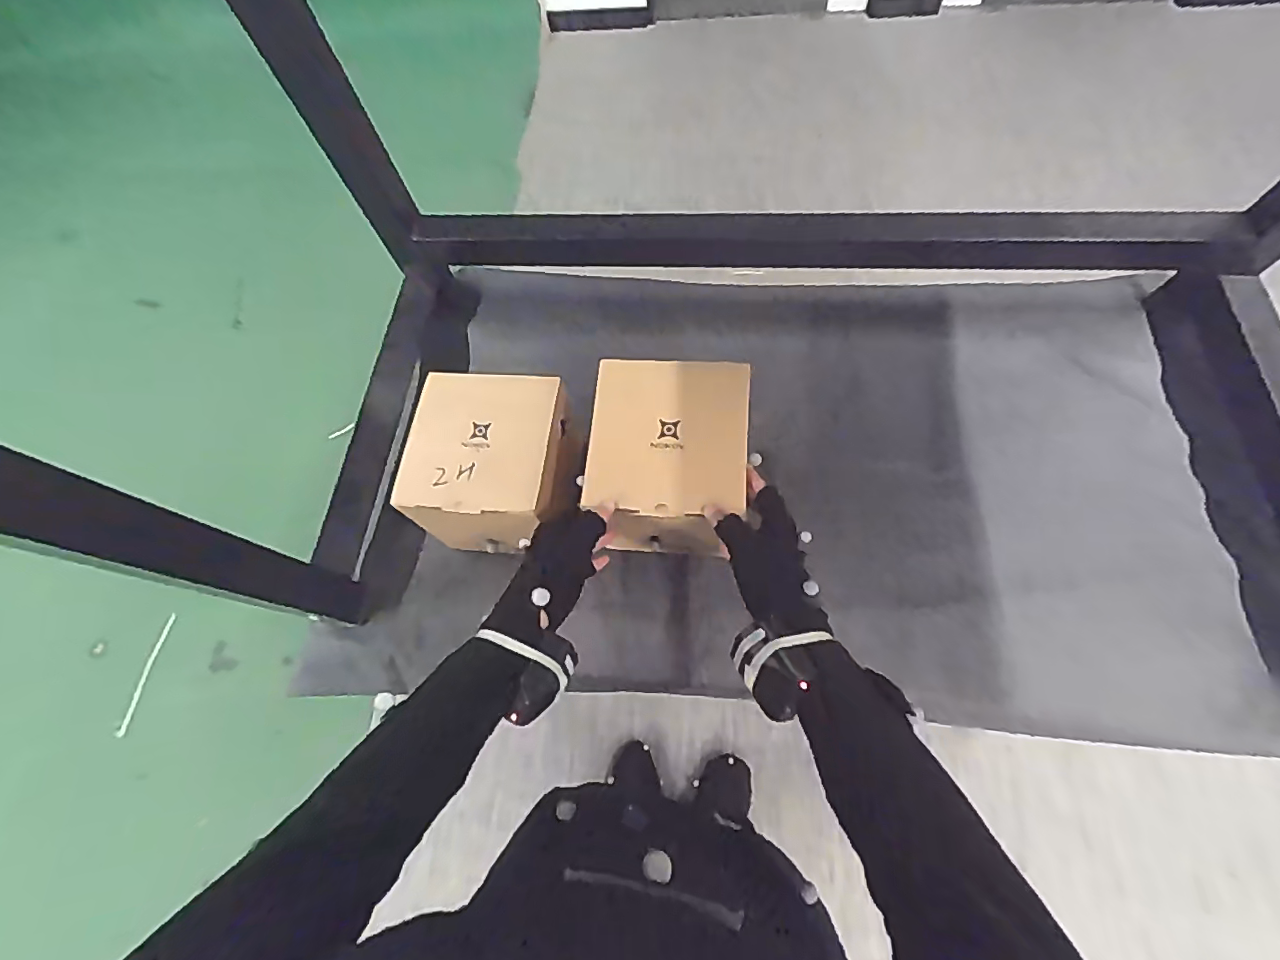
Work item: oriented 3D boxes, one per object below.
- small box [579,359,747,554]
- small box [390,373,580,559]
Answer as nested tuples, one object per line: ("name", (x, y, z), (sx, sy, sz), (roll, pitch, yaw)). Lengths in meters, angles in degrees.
("small box", (0.033, -0.022, 0.638), (0.168, 0.176, 0.179), (3, 70, 7))
("small box", (-0.177, -0.013, 0.685), (0.168, 0.176, 0.179), (3, 66, 7))
